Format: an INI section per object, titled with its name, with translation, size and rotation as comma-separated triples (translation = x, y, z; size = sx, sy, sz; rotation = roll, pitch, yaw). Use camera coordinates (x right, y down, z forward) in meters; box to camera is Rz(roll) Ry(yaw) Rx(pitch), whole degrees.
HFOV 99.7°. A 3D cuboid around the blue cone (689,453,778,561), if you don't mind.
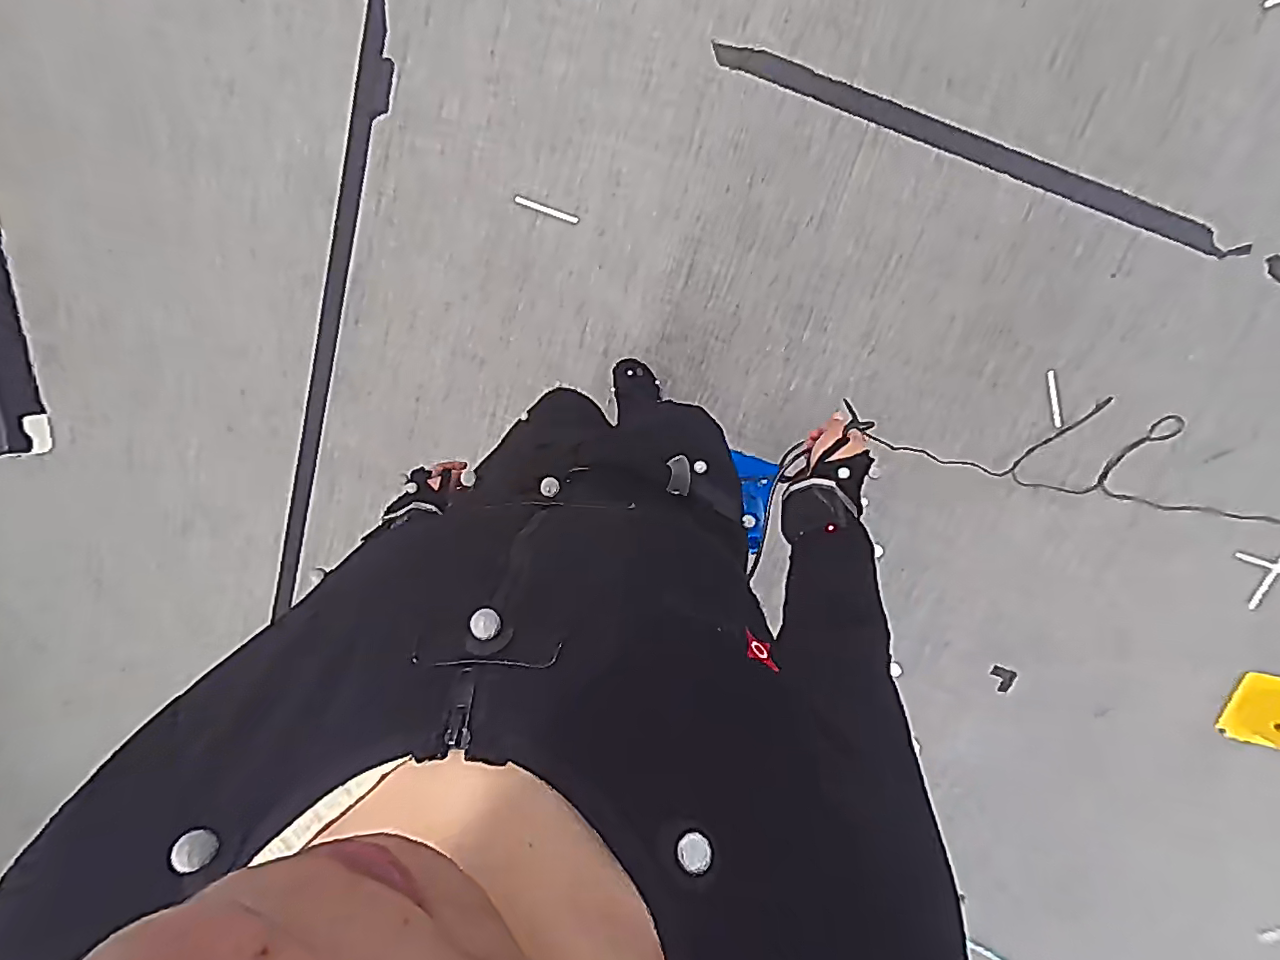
[blue cone]
translation = 0.225, 0.080, 1.200
size = 0.193, 0.380, 0.192
rotation = 20, 106, -2
